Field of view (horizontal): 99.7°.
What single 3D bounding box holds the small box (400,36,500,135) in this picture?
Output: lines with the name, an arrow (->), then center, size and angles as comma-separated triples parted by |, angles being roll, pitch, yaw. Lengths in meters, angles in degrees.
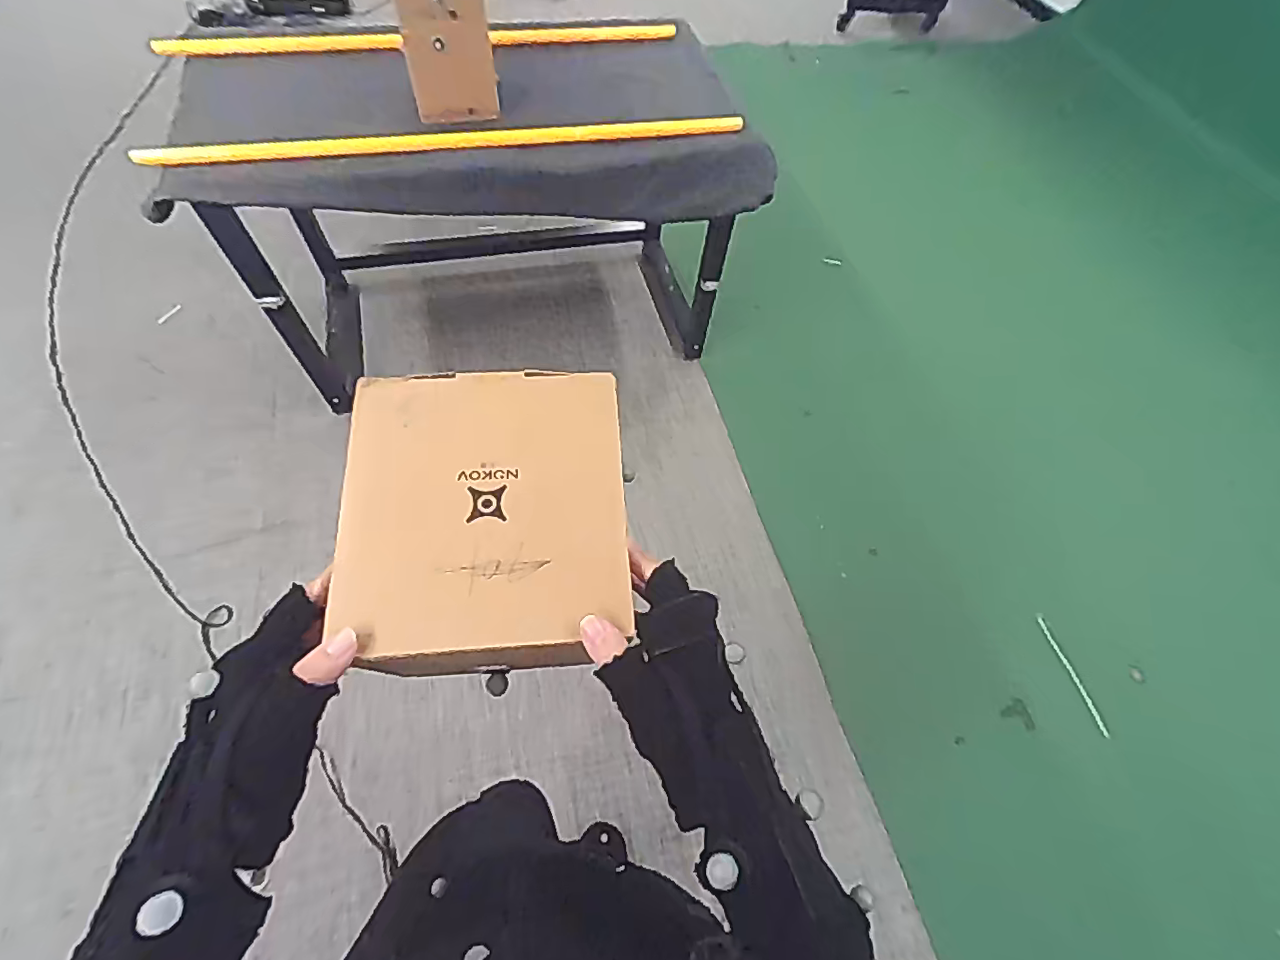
small box -> -0.405, -0.869, 1.152 | 0.168, 0.176, 0.179 | -13, 61, -12

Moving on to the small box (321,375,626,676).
small box -> -0.103, 0.042, 0.400 | 0.168, 0.176, 0.179 | -3, 67, -7

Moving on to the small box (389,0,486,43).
small box -> -0.392, -0.956, 1.013 | 0.168, 0.176, 0.179 | -11, 62, -11
